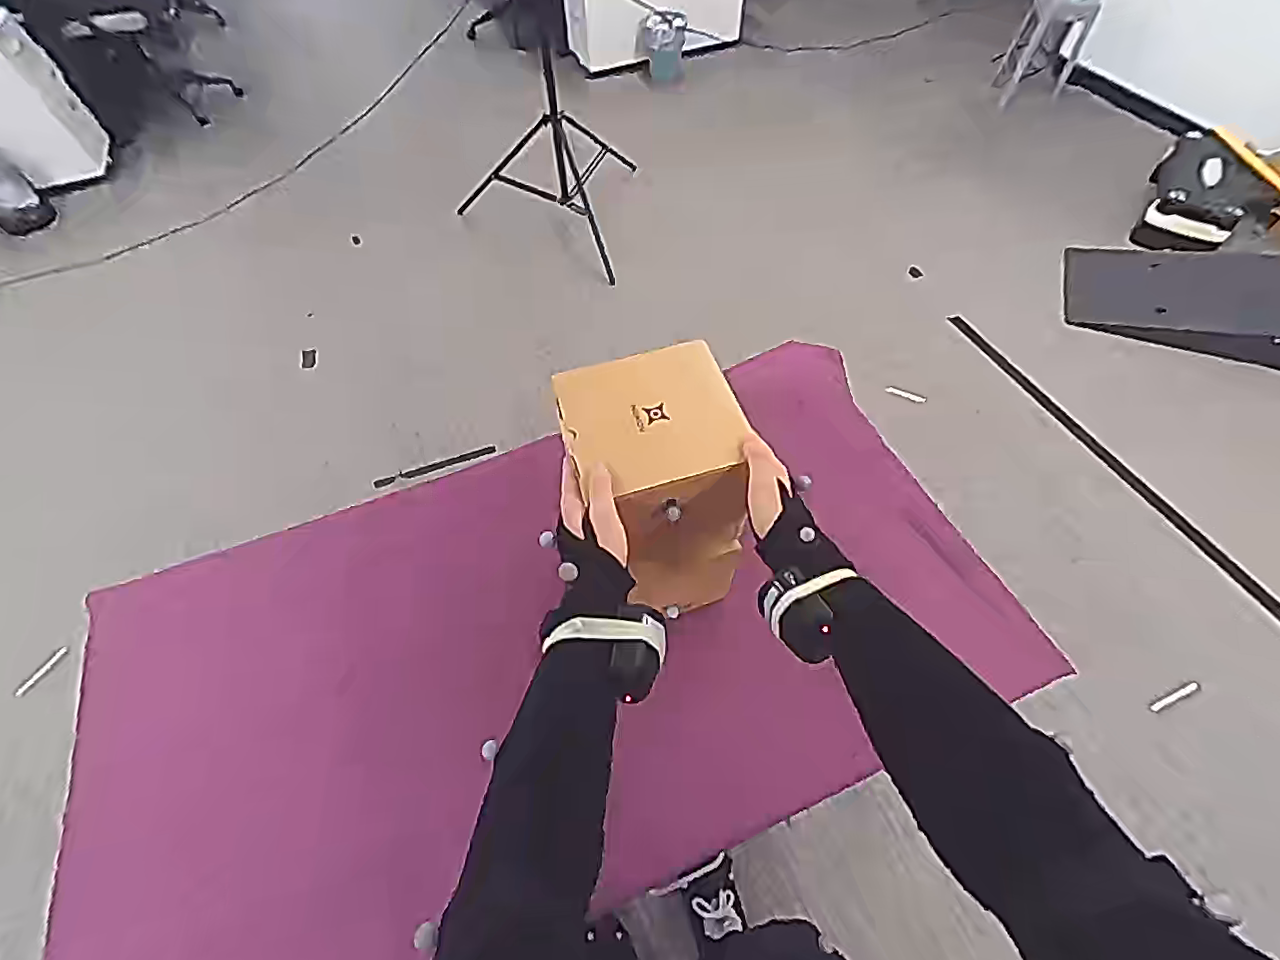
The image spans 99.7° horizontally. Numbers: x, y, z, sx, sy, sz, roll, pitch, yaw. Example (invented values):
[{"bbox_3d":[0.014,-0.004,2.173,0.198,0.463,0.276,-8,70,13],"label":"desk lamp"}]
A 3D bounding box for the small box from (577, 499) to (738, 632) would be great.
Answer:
[{"bbox_3d":[0.015,0.081,0.734,0.168,0.176,0.179,-17,59,-9],"label":"small box"}]

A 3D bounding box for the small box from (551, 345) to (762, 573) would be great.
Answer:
[{"bbox_3d":[0.012,-0.018,0.605,0.179,0.176,0.168,-16,59,-7],"label":"small box"}]
